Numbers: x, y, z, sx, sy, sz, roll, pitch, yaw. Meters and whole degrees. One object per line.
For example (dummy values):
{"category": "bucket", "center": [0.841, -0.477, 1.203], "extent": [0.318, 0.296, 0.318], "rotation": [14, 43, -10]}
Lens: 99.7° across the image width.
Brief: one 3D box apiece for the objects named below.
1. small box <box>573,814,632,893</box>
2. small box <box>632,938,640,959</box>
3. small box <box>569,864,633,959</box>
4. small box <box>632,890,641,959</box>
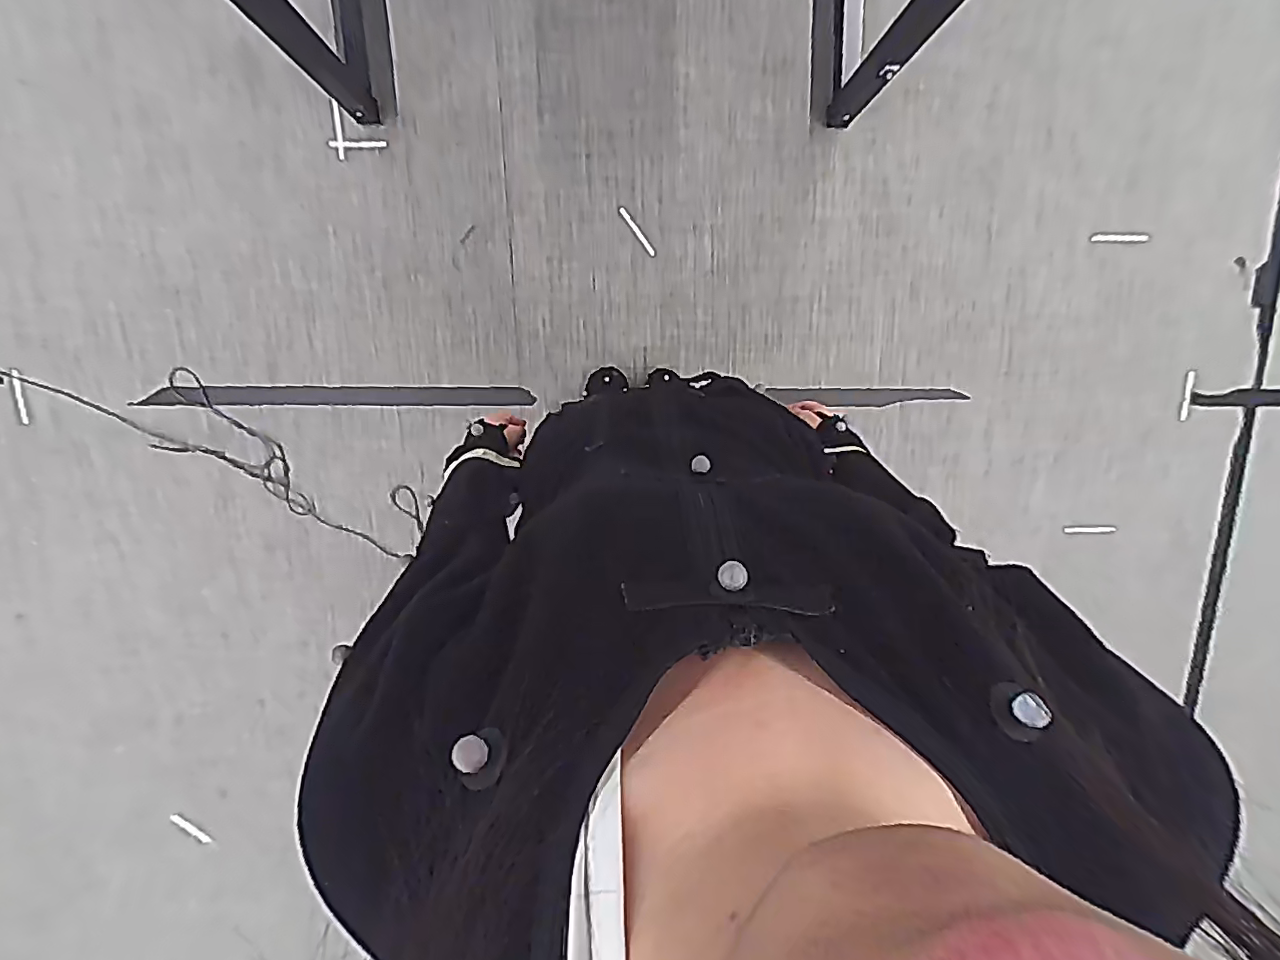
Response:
{"category": "small box", "center": [-0.111, 1.141, 1.634], "extent": [0.168, 0.176, 0.179], "rotation": [-3, 103, -2]}
{"category": "small box", "center": [-0.077, 1.451, 1.530], "extent": [0.168, 0.176, 0.179], "rotation": [-7, 102, -3]}
{"category": "small box", "center": [-0.107, 1.186, 1.475], "extent": [0.168, 0.176, 0.179], "rotation": [0, 102, -3]}
{"category": "small box", "center": [-0.090, 1.416, 1.691], "extent": [0.168, 0.176, 0.179], "rotation": [-8, 101, -1]}
